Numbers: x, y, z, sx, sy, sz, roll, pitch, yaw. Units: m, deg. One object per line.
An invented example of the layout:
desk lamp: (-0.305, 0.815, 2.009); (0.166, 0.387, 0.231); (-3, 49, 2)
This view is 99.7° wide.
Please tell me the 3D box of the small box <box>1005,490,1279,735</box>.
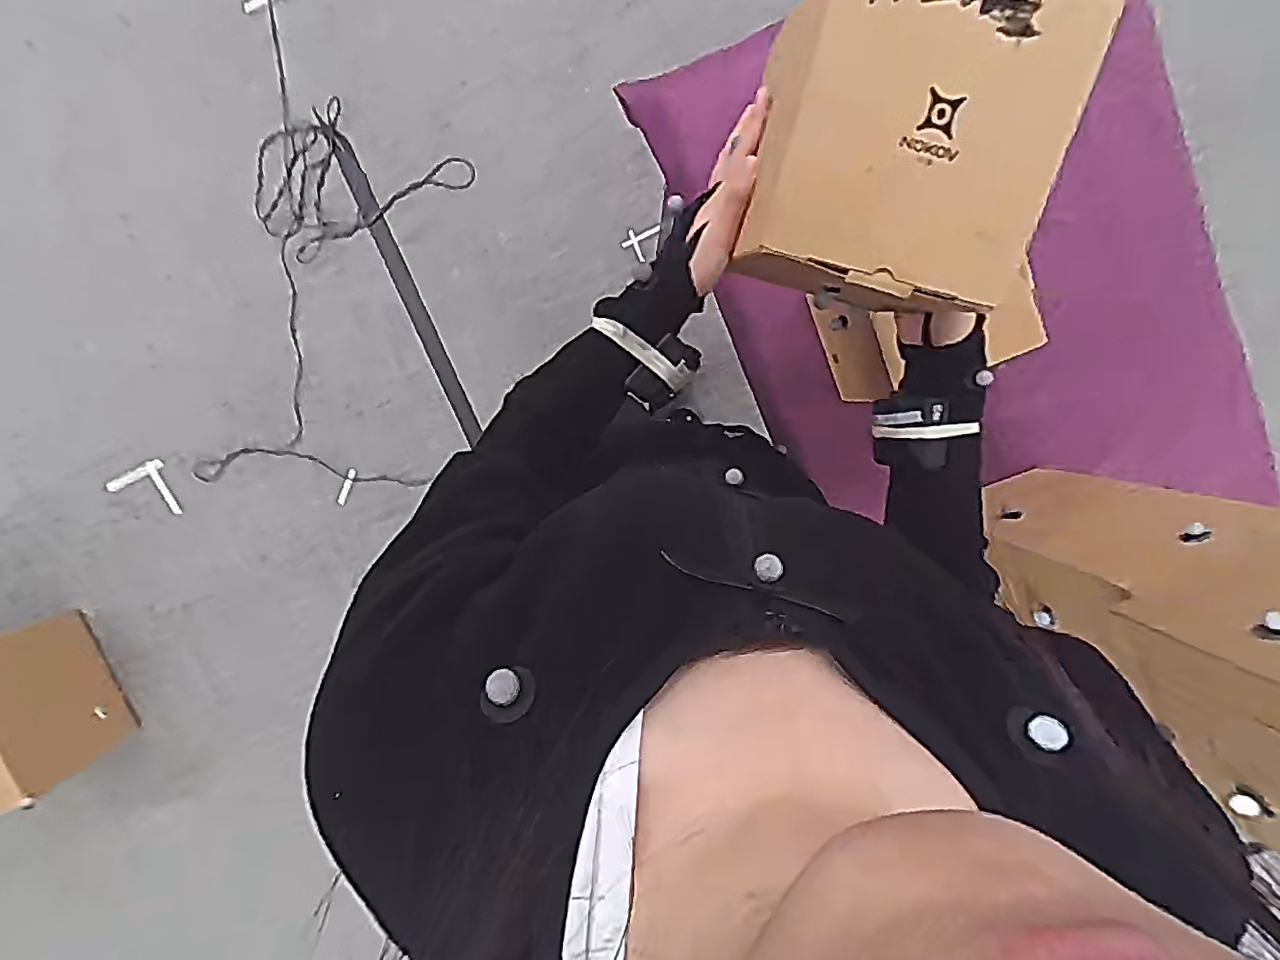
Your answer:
small box: (0.519, 0.120, 0.541); (0.179, 0.176, 0.168); (-20, 98, 3)

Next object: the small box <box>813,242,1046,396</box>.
small box: (0.330, -0.207, 0.657); (0.179, 0.176, 0.168); (-22, 98, 1)

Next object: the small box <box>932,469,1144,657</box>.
small box: (0.512, 0.095, 0.703); (0.179, 0.176, 0.168); (-20, 99, 2)

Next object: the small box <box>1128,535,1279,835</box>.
small box: (0.502, 0.154, 0.382); (0.179, 0.176, 0.168); (-24, 99, 2)

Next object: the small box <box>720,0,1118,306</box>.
small box: (0.166, -0.234, 0.393); (0.168, 0.176, 0.179); (11, 107, -8)
